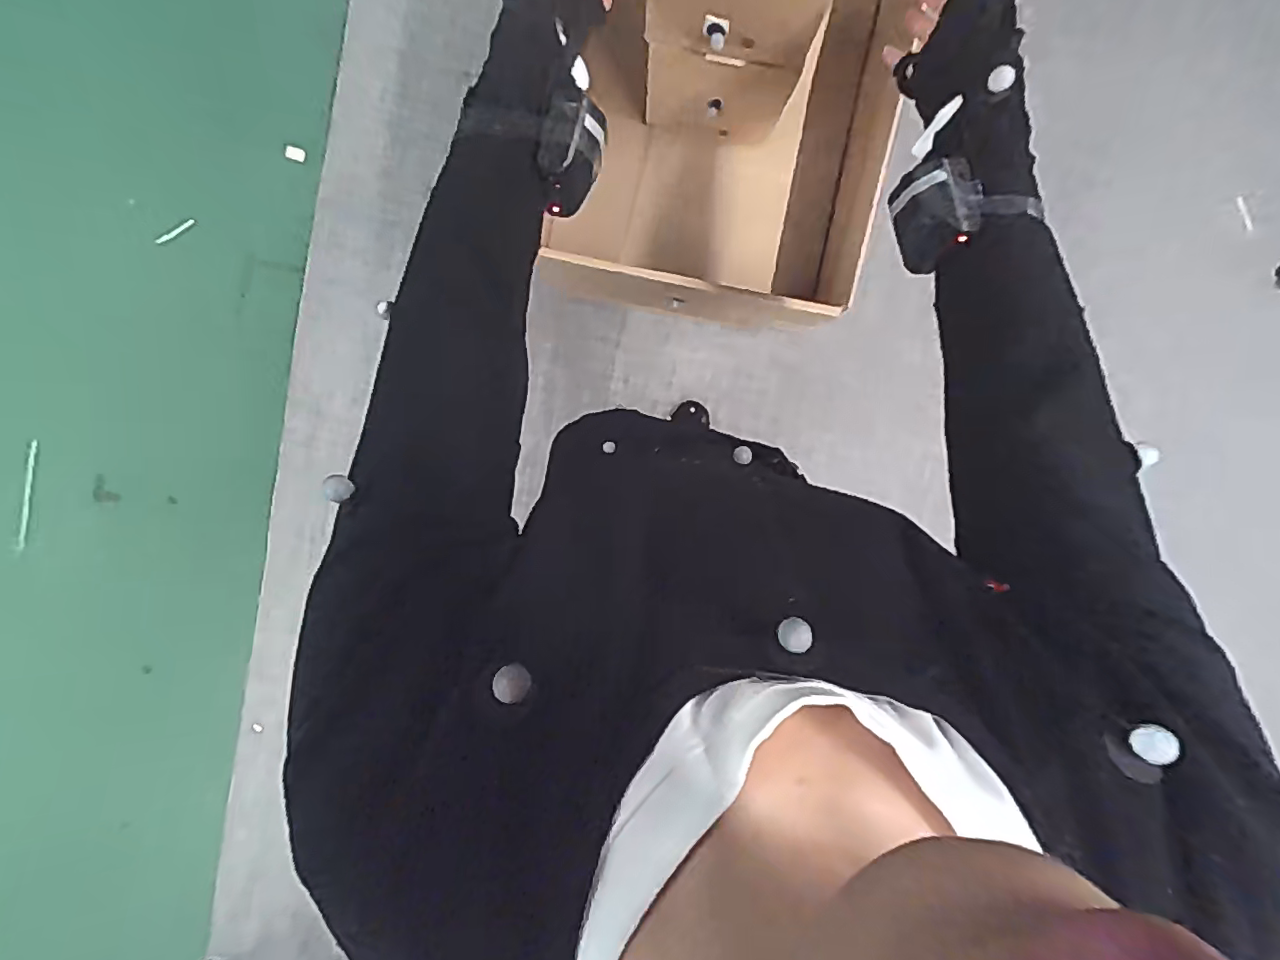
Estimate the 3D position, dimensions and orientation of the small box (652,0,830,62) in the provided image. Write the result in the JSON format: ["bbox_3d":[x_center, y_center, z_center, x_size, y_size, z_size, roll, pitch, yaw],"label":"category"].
[{"bbox_3d":[0.102,-0.518,0.468,0.168,0.176,0.179,9,98,0],"label":"small box"}]
